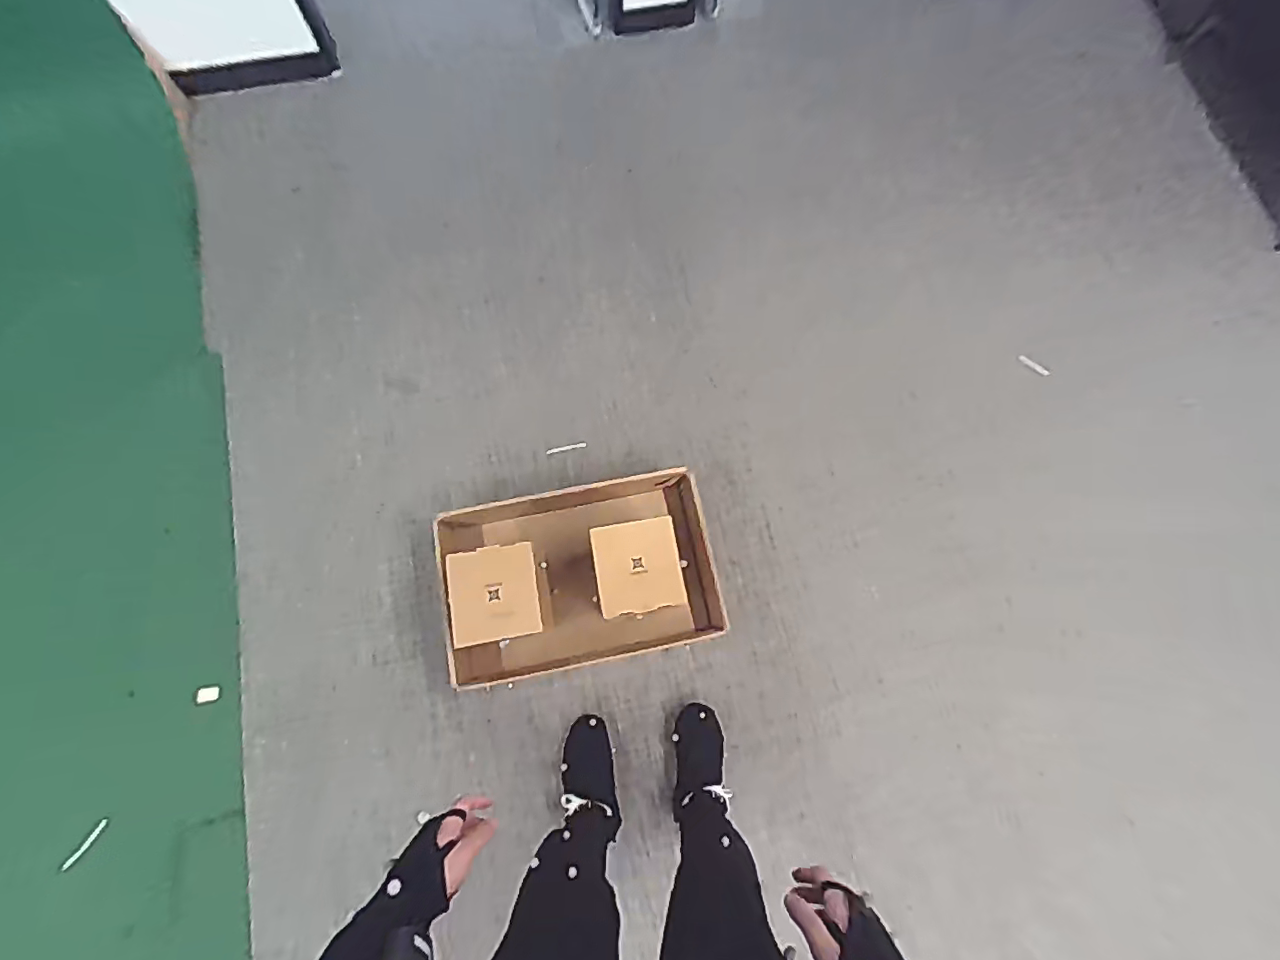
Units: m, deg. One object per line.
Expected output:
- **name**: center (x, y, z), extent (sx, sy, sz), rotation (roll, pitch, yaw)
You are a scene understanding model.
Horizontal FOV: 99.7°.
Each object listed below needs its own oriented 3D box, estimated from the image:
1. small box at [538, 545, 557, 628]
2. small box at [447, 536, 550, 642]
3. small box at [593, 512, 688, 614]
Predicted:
- **small box**: center (-0.288, 0.259, 1.246), extent (0.168, 0.176, 0.179), rotation (-9, 76, -5)
- **small box**: center (-0.278, 0.222, 1.088), extent (0.168, 0.176, 0.179), rotation (-9, 77, -5)
- **small box**: center (-0.006, 0.176, 1.116), extent (0.168, 0.176, 0.179), rotation (-9, 78, -5)
